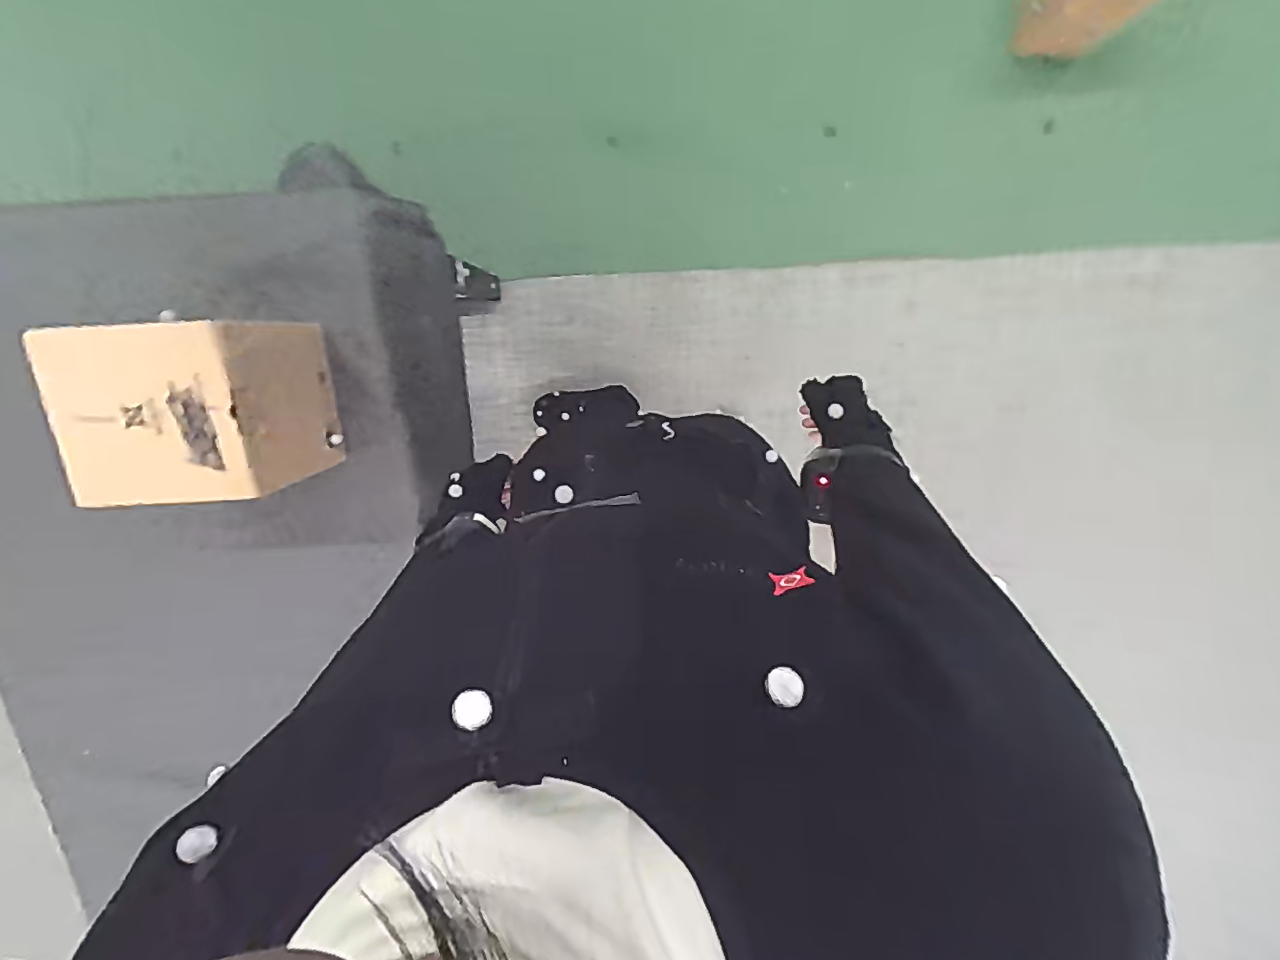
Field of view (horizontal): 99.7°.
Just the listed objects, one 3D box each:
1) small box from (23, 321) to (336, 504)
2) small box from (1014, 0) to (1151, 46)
[{"bbox_3d":[-0.452,-0.080,0.571,0.179,0.176,0.168,-3,105,2],"label":"small box"},{"bbox_3d":[0.894,-1.013,1.082,0.168,0.176,0.179,2,104,-4],"label":"small box"}]
